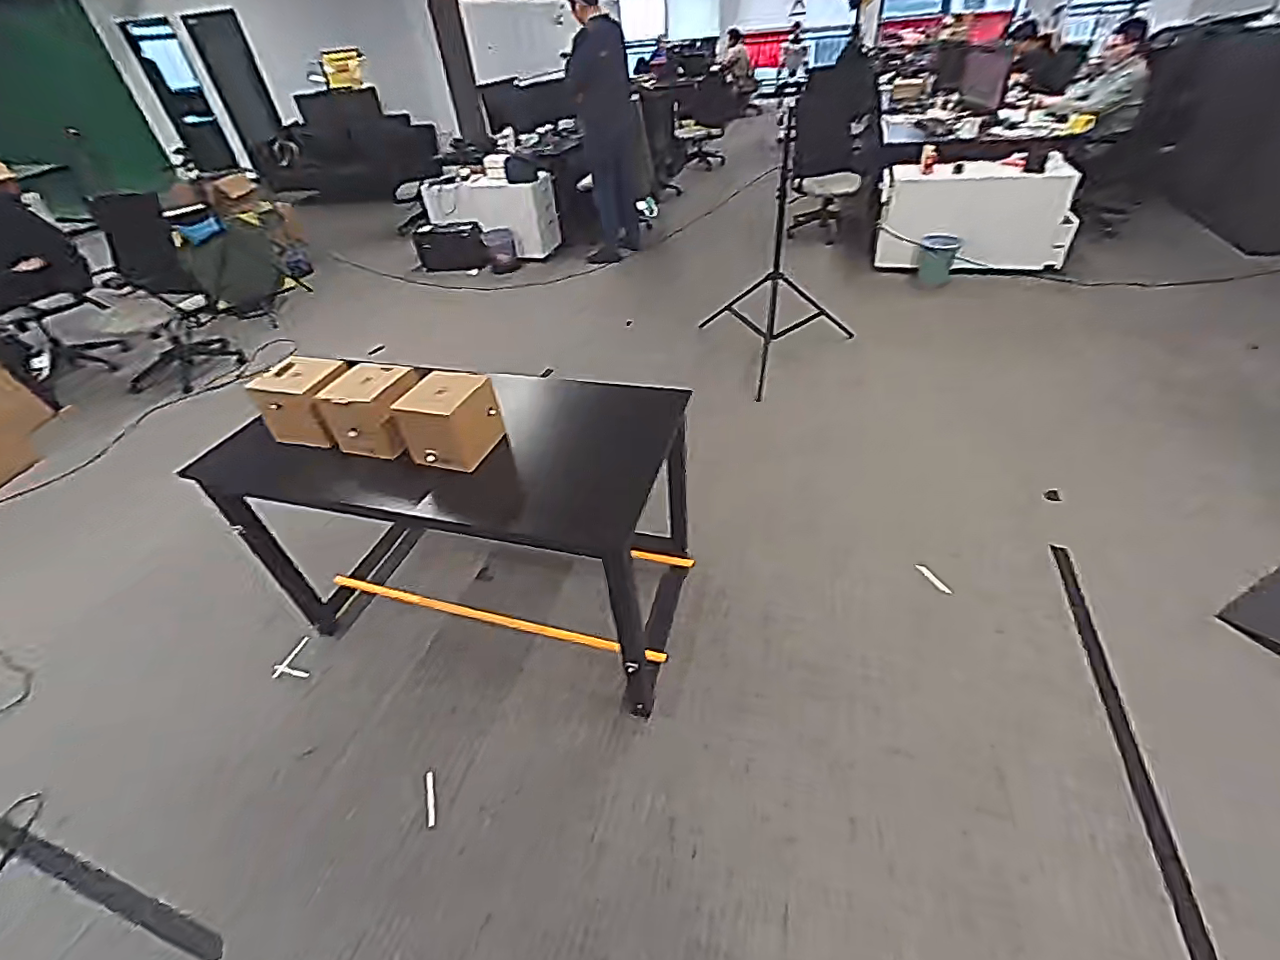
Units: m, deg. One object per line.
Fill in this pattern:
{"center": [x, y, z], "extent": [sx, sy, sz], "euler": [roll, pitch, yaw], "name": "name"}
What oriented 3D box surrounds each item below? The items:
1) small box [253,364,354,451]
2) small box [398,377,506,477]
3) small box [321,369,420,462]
{"center": [-0.867, -0.193, 1.446], "extent": [0.179, 0.176, 0.168], "euler": [7, 42, 14], "name": "small box"}
{"center": [-0.448, -0.132, 1.324], "extent": [0.168, 0.176, 0.179], "euler": [7, 42, 18], "name": "small box"}
{"center": [-0.661, -0.165, 1.388], "extent": [0.168, 0.176, 0.179], "euler": [8, 42, 16], "name": "small box"}
